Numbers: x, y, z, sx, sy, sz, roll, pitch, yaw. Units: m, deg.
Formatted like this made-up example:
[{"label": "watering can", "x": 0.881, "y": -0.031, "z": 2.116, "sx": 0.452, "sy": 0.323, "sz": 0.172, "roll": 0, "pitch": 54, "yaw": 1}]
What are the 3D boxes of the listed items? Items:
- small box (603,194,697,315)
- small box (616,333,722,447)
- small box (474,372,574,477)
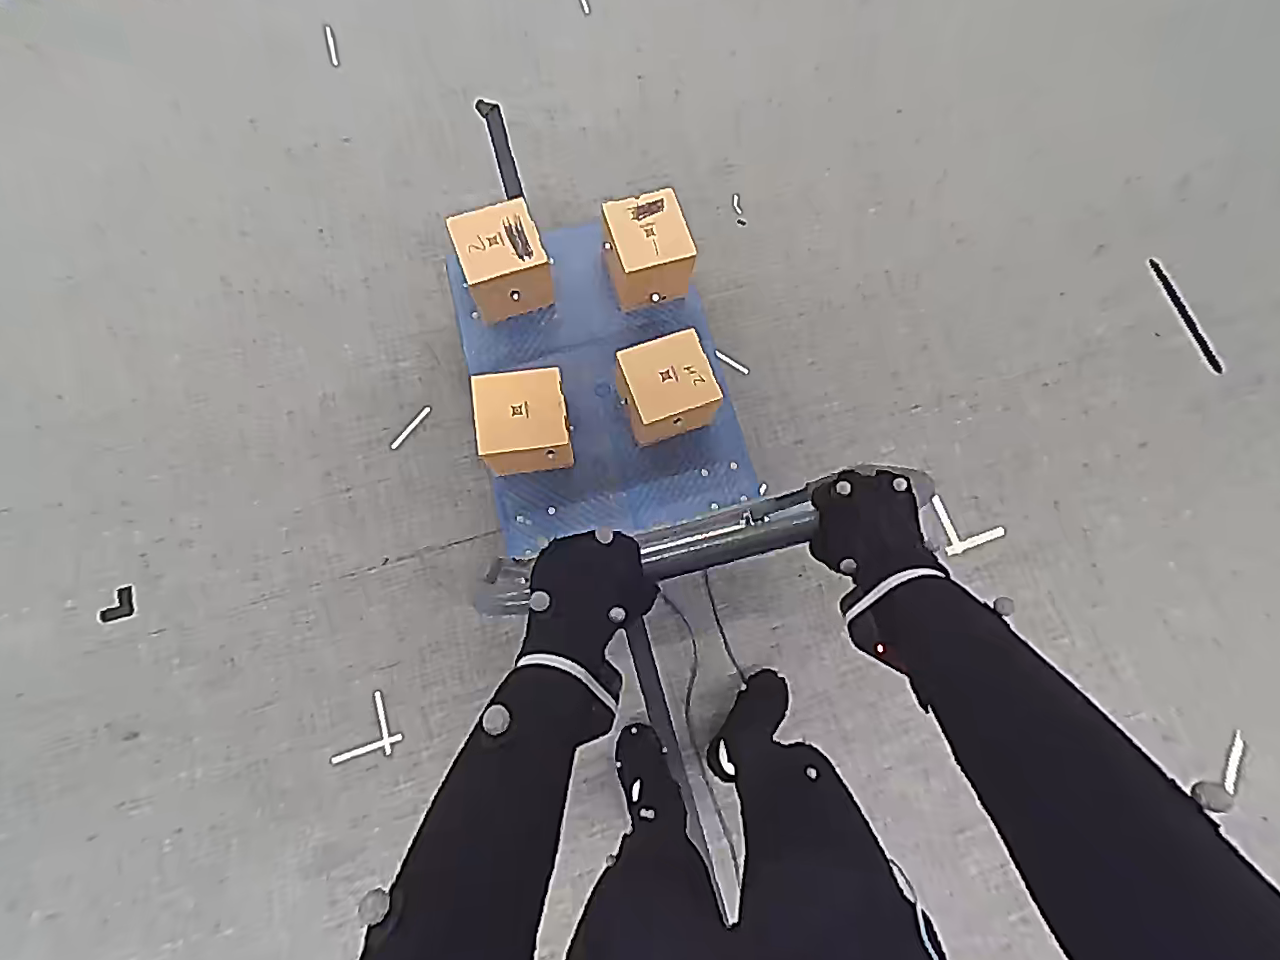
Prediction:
[{"label": "small box", "x": 0.014, "y": -0.514, "z": 1.248, "sx": 0.168, "sy": 0.176, "sz": 0.179, "roll": -17, "pitch": 80, "yaw": -7}, {"label": "small box", "x": 0.056, "y": -0.187, "z": 1.176, "sx": 0.179, "sy": 0.176, "sz": 0.168, "roll": -19, "pitch": 79, "yaw": -8}, {"label": "small box", "x": -0.239, "y": -0.110, "z": 1.139, "sx": 0.179, "sy": 0.176, "sz": 0.168, "roll": -8, "pitch": 77, "yaw": -7}]
